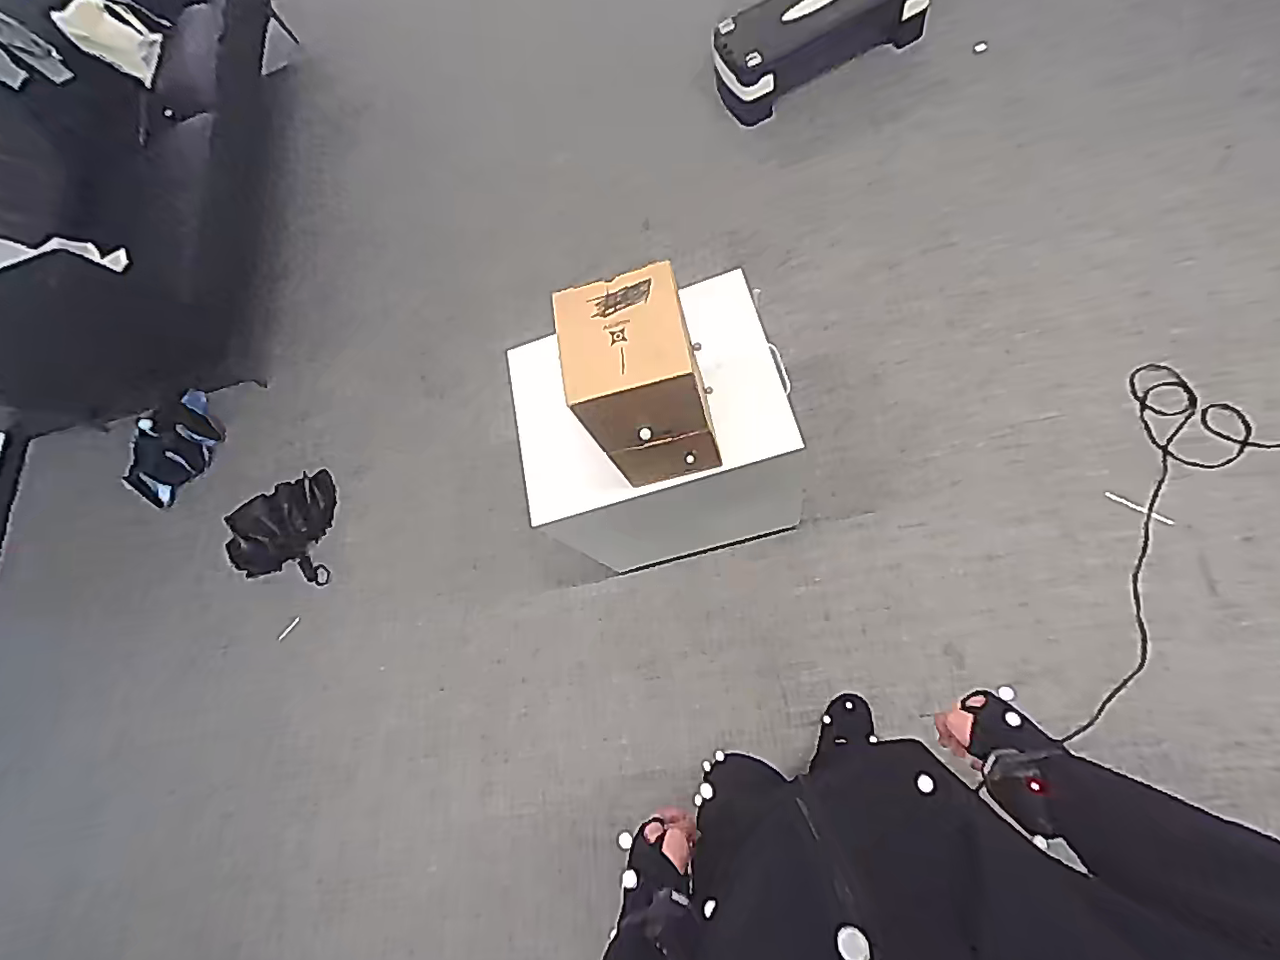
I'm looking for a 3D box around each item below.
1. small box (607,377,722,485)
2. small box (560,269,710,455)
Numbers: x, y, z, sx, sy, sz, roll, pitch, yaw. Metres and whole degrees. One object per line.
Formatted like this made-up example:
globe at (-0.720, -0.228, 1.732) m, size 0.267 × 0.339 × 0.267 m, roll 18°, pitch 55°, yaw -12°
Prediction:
small box at (0.037, -0.102, 0.918) m, size 0.168 × 0.176 × 0.179 m, roll -14°, pitch 66°, yaw 10°
small box at (-0.003, -0.158, 0.769) m, size 0.168 × 0.176 × 0.179 m, roll -13°, pitch 69°, yaw 10°
